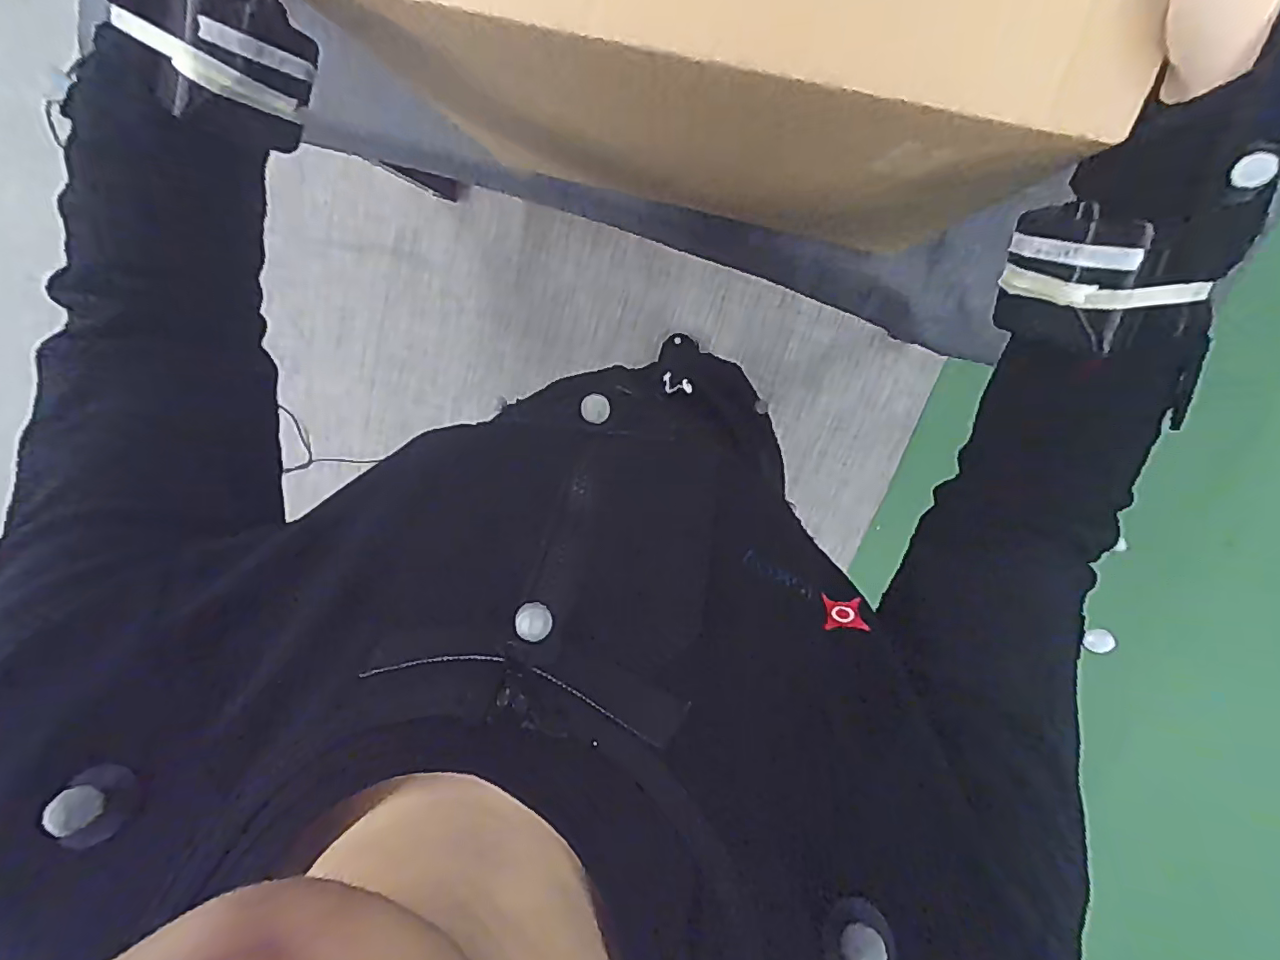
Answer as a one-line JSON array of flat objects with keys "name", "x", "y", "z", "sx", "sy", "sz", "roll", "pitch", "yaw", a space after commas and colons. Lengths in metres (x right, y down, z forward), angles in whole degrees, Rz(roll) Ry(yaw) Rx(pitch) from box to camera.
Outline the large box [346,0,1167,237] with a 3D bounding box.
[{"name": "large box", "x": 0.071, "y": -0.386, "z": 0.356, "sx": 0.408, "sy": 0.320, "sz": 0.320, "roll": 14, "pitch": 107, "yaw": 2}]
